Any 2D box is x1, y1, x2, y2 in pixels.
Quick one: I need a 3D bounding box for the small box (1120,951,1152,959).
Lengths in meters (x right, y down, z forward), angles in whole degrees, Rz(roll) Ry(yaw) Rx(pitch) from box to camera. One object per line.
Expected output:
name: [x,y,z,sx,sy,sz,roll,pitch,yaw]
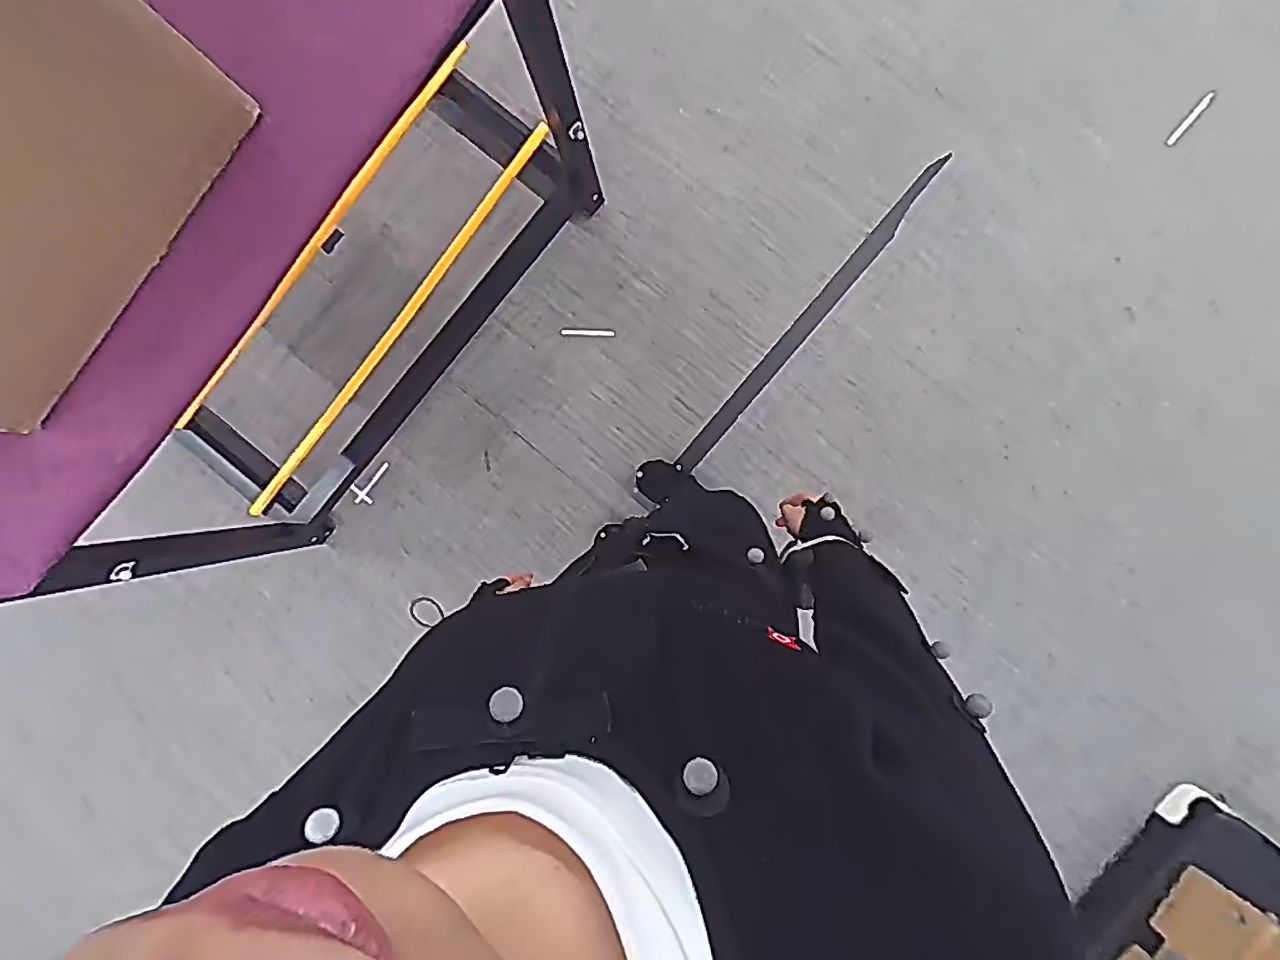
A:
small box: [1.113,1.159,1.140,0.179,0.176,0.168,43,93,3]
